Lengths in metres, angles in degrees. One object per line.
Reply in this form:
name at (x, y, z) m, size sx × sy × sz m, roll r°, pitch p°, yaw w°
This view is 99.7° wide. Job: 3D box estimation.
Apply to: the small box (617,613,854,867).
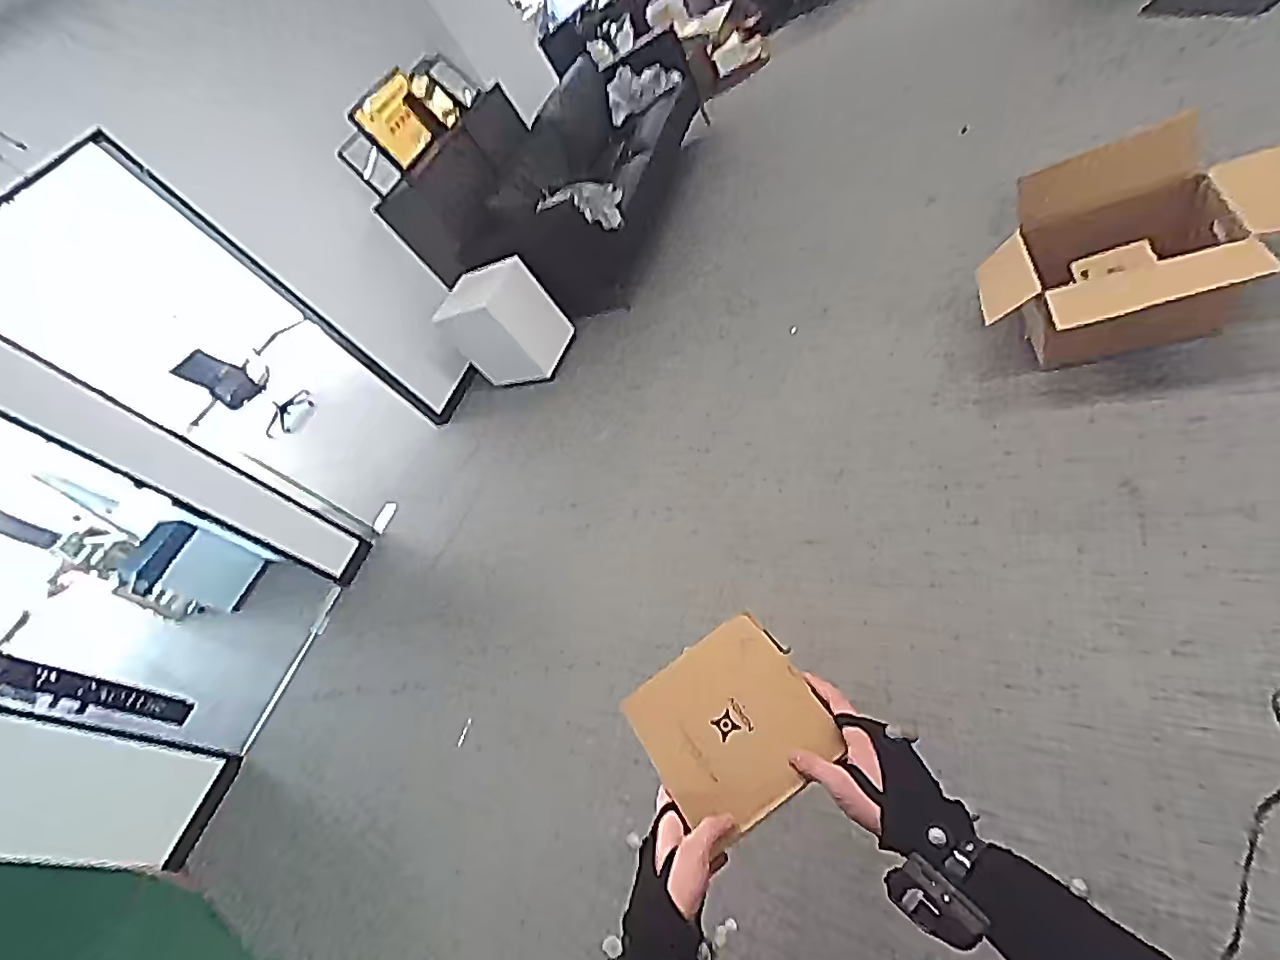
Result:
small box at (0.107, 0.279, 0.594) m, size 0.179 × 0.176 × 0.168 m, roll -36°, pitch 55°, yaw -2°
